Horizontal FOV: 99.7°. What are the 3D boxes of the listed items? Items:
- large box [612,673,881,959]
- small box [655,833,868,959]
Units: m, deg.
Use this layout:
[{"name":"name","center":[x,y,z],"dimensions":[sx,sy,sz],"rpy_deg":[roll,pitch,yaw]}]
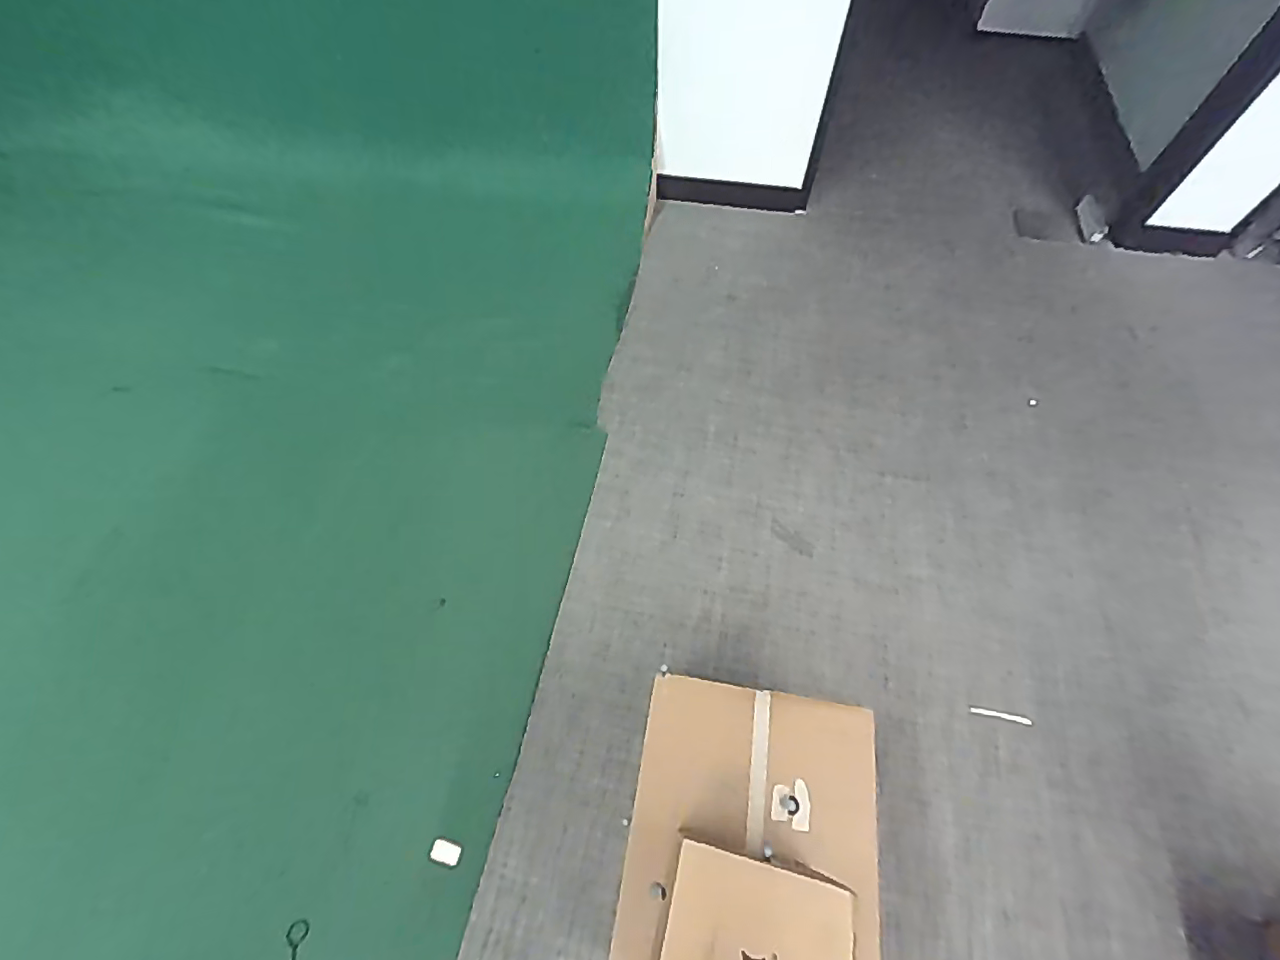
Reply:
[{"name":"large box","center":[0.147,0.547,0.810],"dimensions":[0.320,0.320,0.408],"rpy_deg":[8,61,6]},{"name":"small box","center":[0.115,0.487,0.562],"dimensions":[0.179,0.176,0.168],"rpy_deg":[12,61,9]}]
